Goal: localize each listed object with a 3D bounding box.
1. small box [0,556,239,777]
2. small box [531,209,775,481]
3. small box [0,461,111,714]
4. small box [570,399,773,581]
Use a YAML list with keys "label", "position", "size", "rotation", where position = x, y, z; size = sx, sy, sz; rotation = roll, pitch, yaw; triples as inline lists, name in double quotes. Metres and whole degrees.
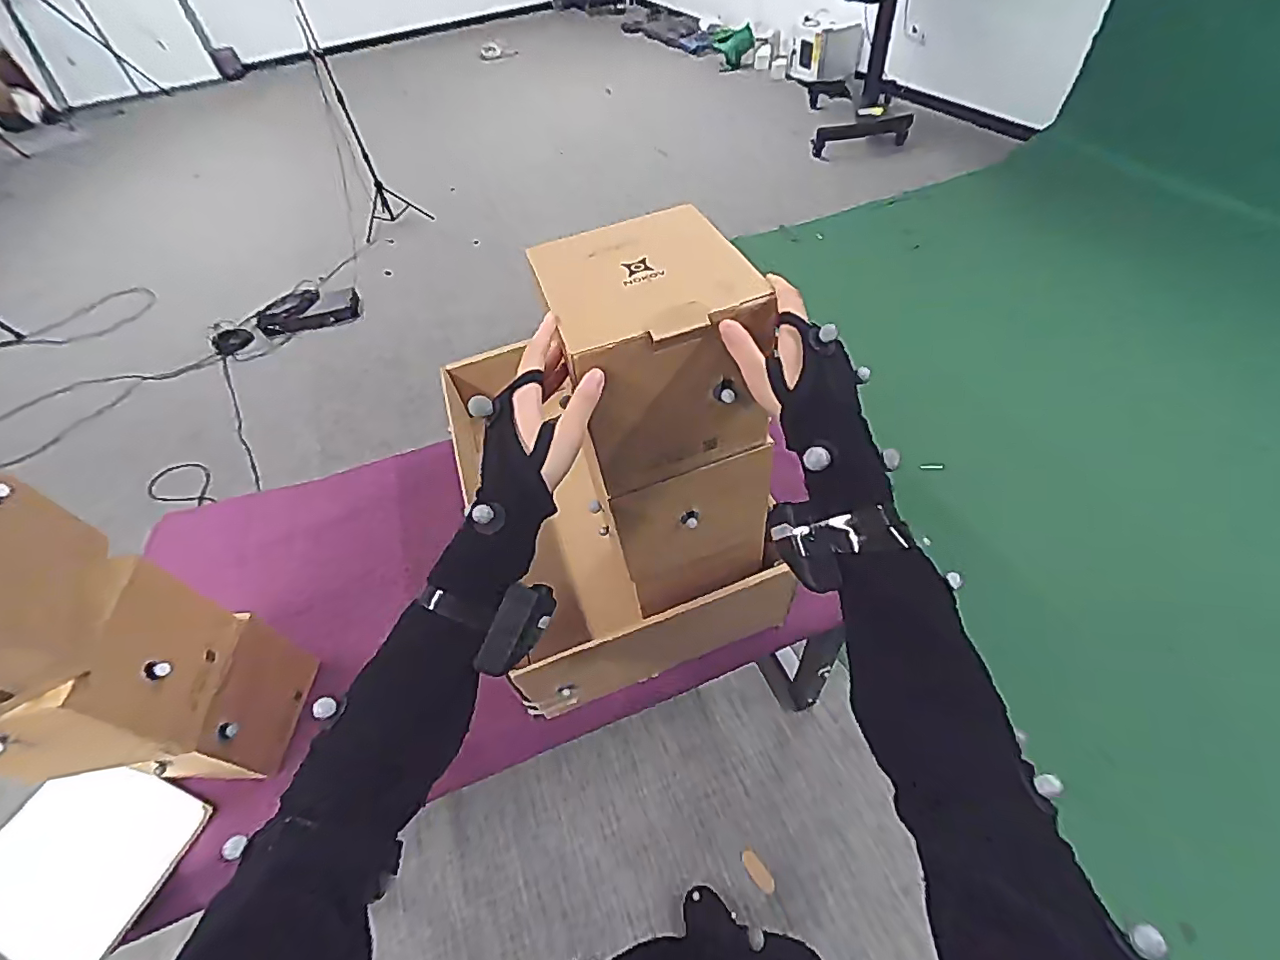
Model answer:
- label: "small box"
  position: [-0.595, 0.207, 0.592]
  size: [0.179, 0.176, 0.168]
  rotation: [-10, 50, -1]
- label: "small box"
  position: [0.011, -0.119, 0.510]
  size: [0.168, 0.176, 0.179]
  rotation: [-18, 50, -7]
- label: "small box"
  position: [-0.618, 0.102, 0.468]
  size: [0.168, 0.176, 0.179]
  rotation: [-28, 52, -15]
- label: "small box"
  position: [0.035, -0.011, 0.630]
  size: [0.179, 0.176, 0.168]
  rotation: [-20, 50, -6]
